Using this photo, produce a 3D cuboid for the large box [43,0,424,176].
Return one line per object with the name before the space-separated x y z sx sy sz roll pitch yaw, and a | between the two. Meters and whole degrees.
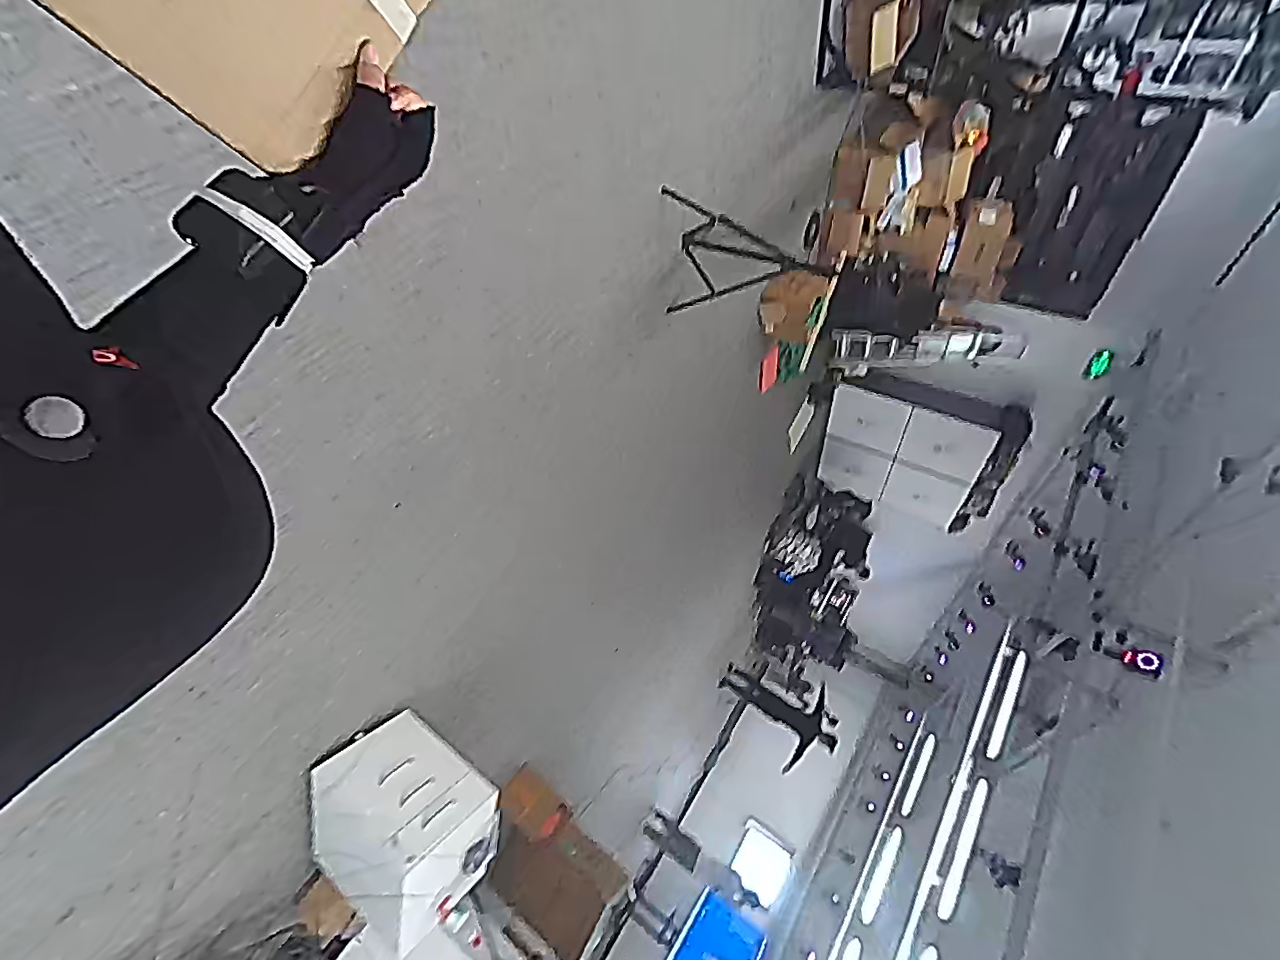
large box | -0.373 -0.494 0.325 0.320 0.320 0.408 -52 154 3
